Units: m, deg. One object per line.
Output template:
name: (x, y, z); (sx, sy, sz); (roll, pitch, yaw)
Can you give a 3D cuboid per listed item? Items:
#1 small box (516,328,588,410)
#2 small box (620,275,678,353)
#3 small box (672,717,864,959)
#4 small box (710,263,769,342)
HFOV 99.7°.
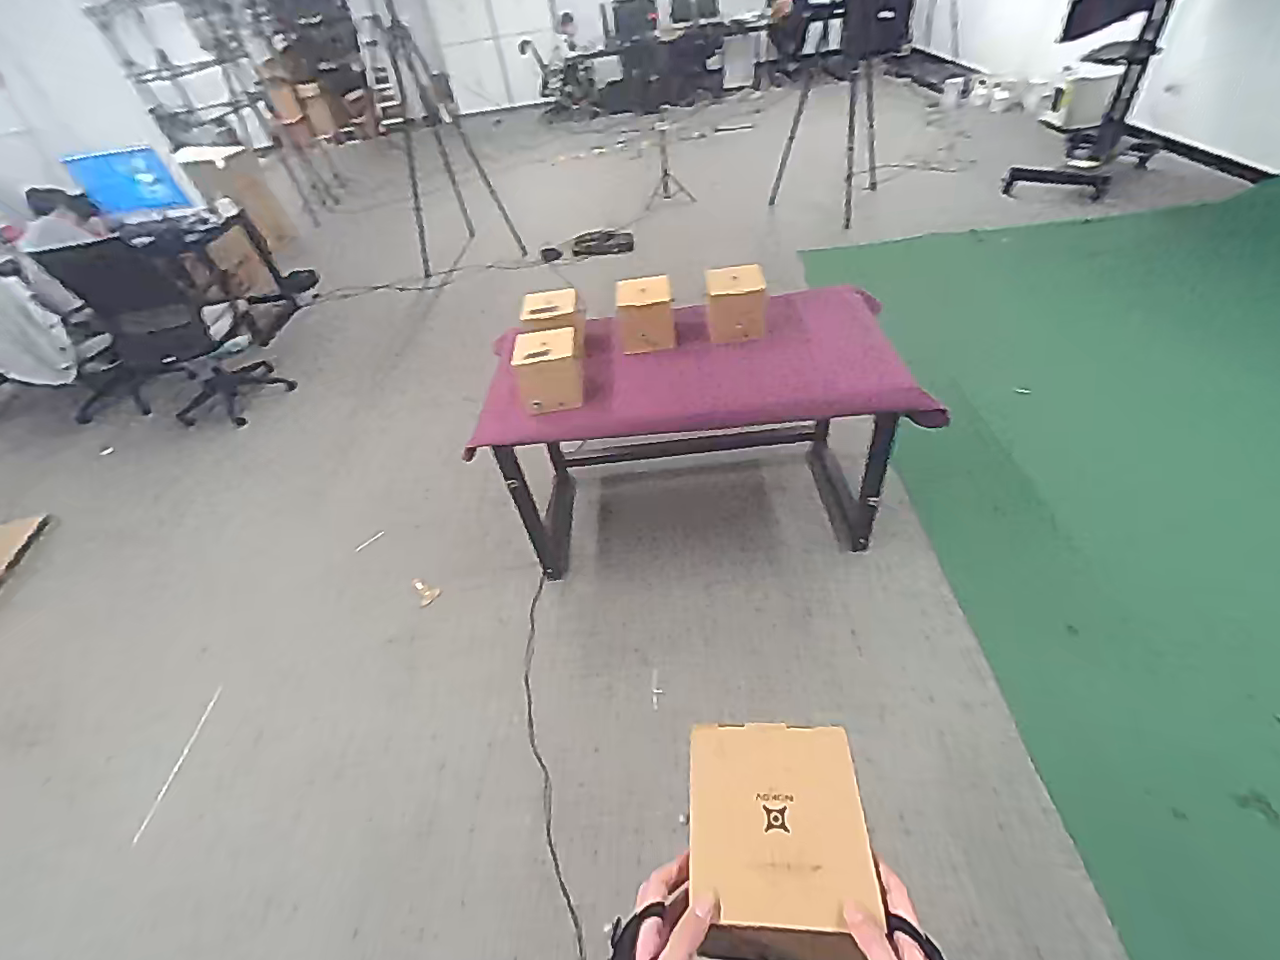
small box: (-0.249, -0.316, 1.570); (0.168, 0.176, 0.179); (-8, 42, 3)
small box: (0.030, -0.532, 1.736); (0.168, 0.176, 0.179); (-7, 45, 5)
small box: (0.124, 0.378, 0.578); (0.168, 0.176, 0.179); (-3, 41, 8)
small box: (0.309, -0.557, 1.699); (0.168, 0.176, 0.179); (-6, 45, 7)
